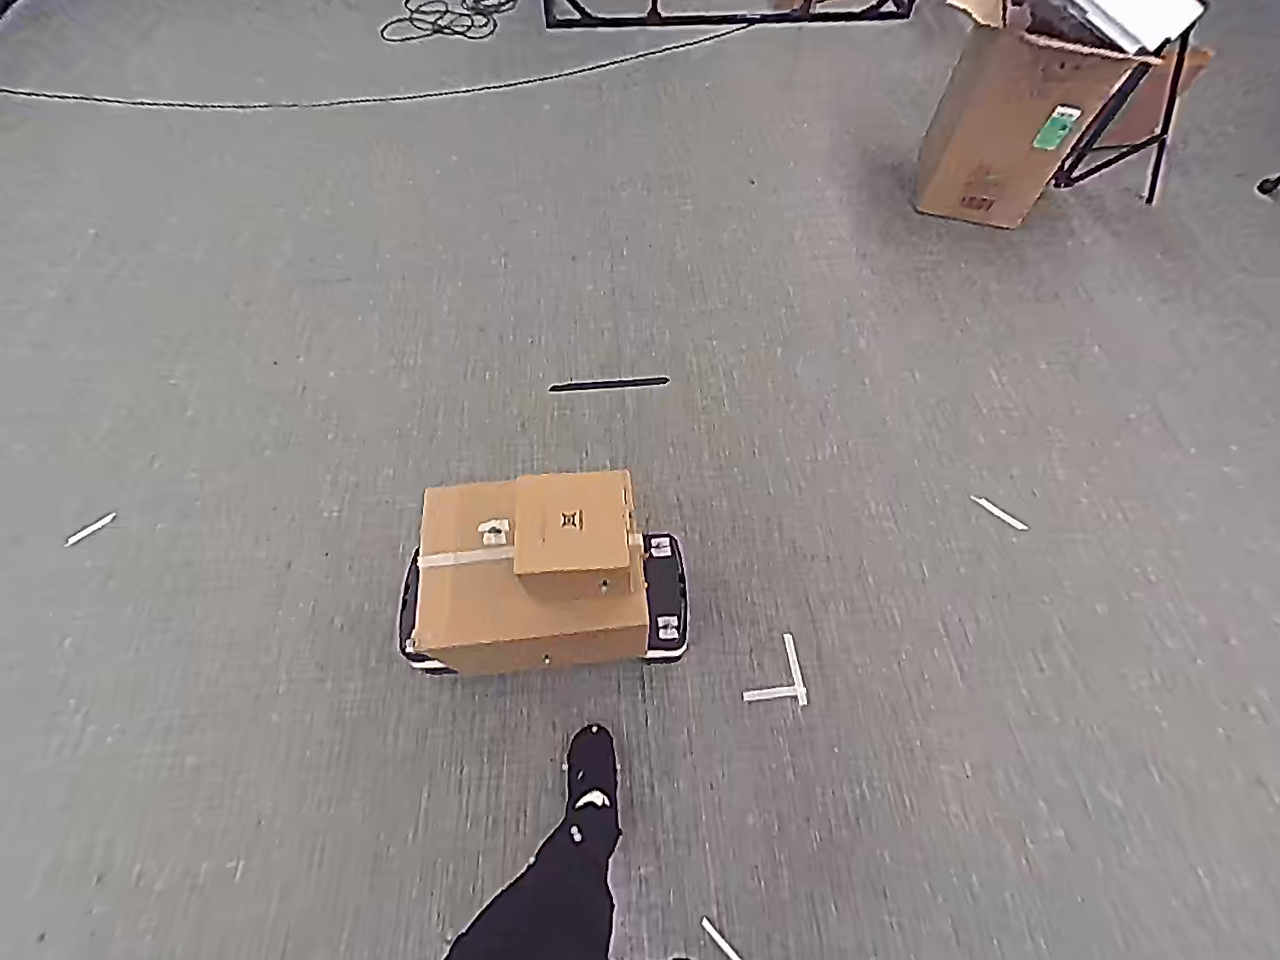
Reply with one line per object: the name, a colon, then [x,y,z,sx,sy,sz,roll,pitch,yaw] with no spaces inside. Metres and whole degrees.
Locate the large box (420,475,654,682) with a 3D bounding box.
large box: [-0.190,0.215,1.119,0.408,0.320,0.320,-6,61,-3]

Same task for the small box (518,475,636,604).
small box: [-0.097,0.103,0.901,0.179,0.176,0.168,-3,62,-1]
